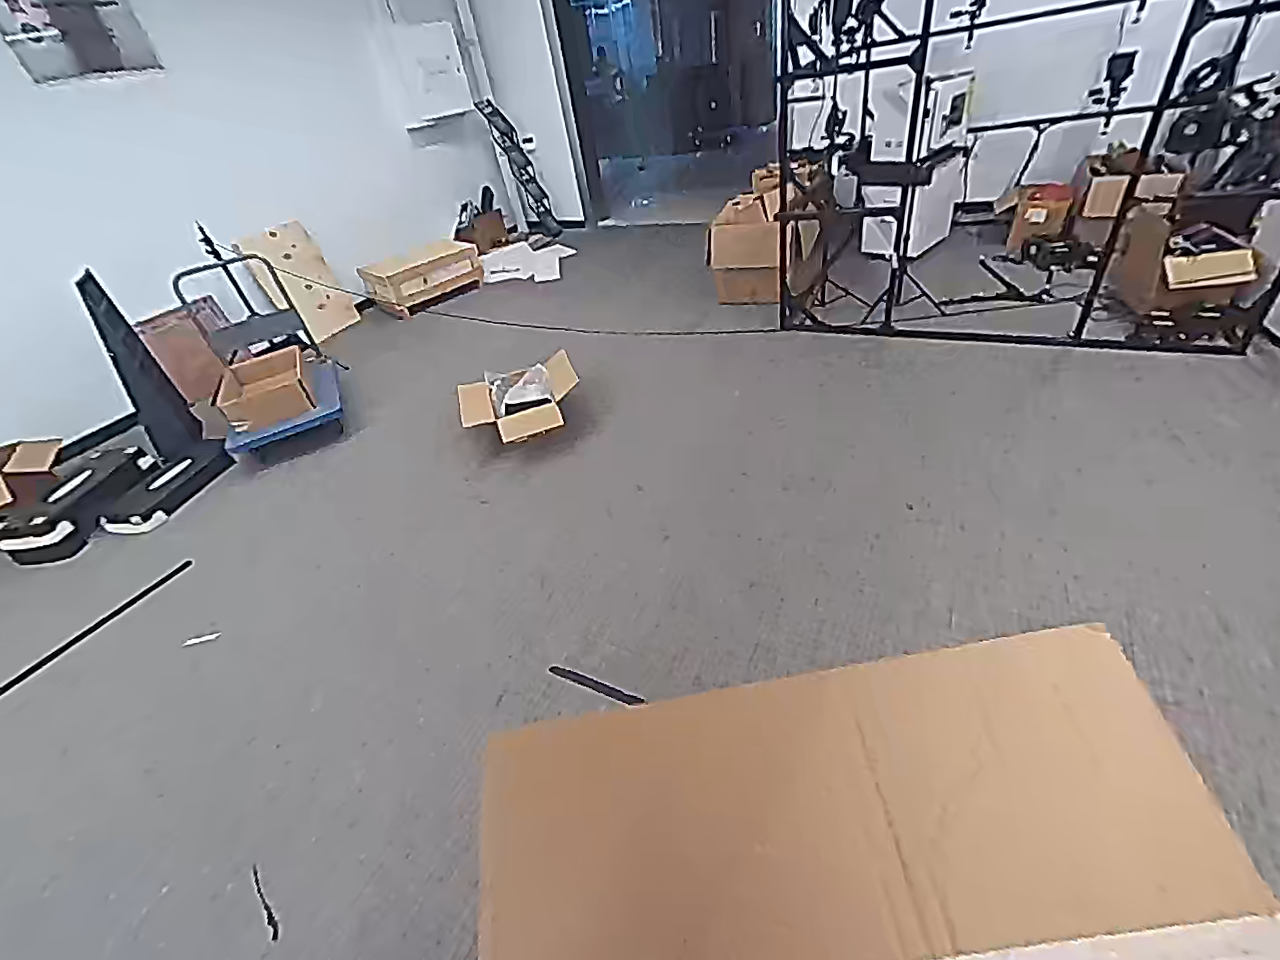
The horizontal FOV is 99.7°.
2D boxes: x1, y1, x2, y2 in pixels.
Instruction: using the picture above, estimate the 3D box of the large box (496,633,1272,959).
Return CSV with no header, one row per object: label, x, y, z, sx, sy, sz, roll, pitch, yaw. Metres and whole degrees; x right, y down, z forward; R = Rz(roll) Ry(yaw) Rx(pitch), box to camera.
large box,0.141,0.346,0.410,0.408,0.320,0.320,-13,59,4
